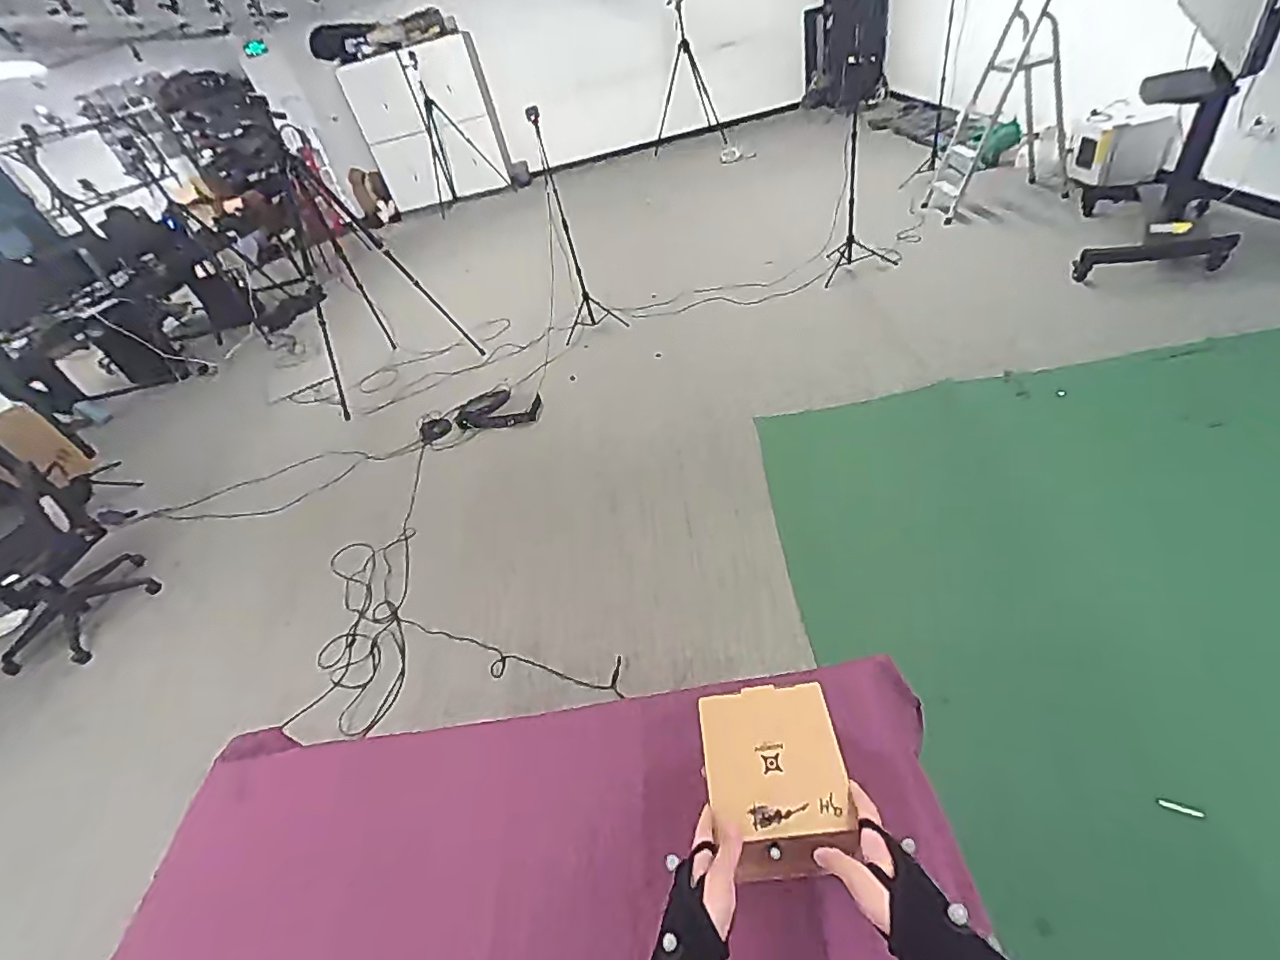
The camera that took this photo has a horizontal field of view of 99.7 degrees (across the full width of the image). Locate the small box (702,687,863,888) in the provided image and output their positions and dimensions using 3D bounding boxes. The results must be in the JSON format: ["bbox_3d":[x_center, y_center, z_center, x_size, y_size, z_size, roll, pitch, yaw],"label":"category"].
[{"bbox_3d":[0.180,0.403,0.711,0.168,0.176,0.179,-11,39,8],"label":"small box"}]
